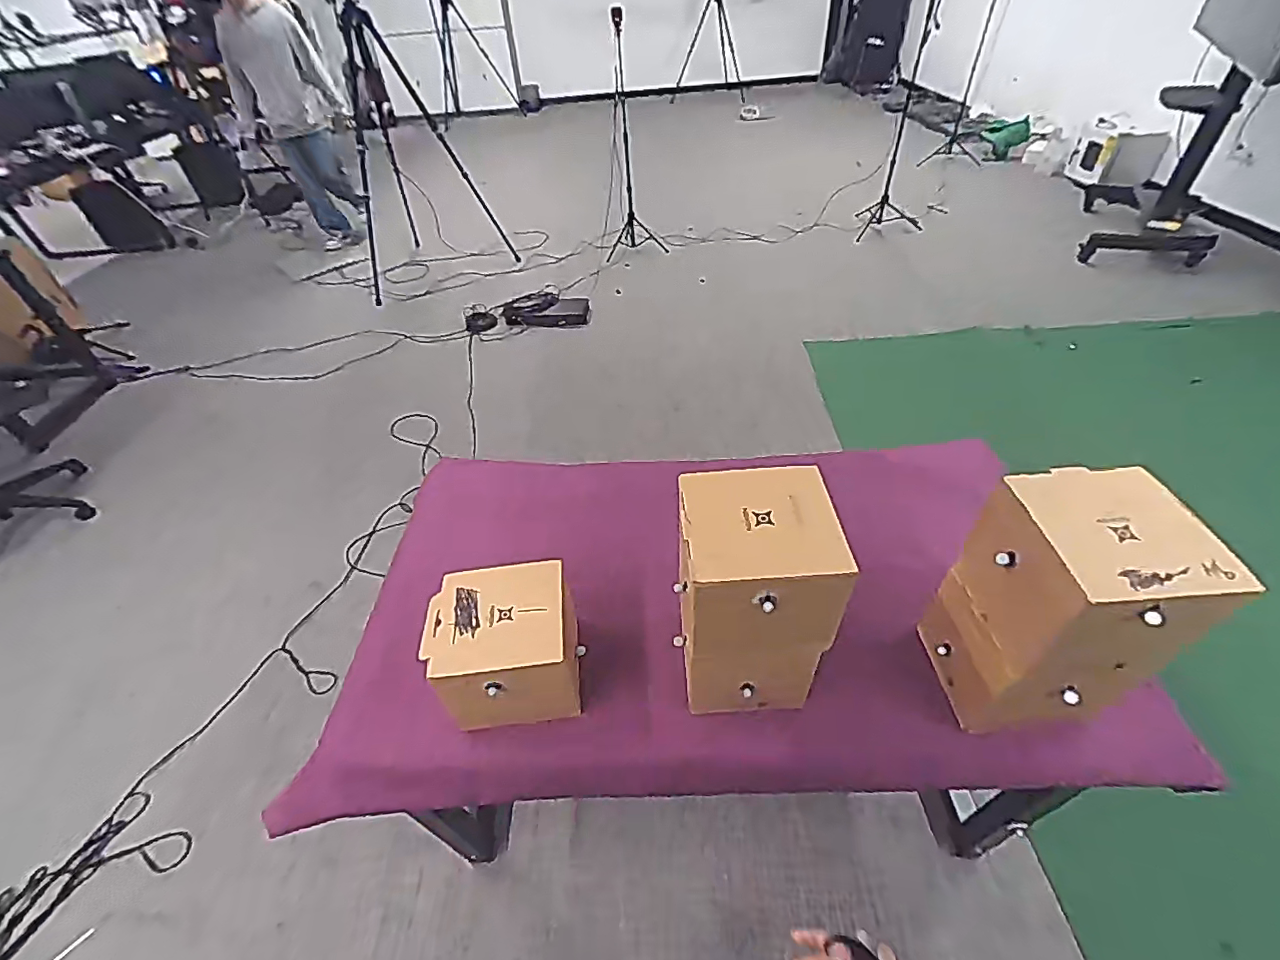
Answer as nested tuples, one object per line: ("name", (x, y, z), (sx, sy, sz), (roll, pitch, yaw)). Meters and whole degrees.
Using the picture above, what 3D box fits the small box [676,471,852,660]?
("small box", (0.141, 0.109, 0.674), (0.179, 0.176, 0.168), (-4, 44, 2))

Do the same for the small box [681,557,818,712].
("small box", (0.150, 0.224, 0.790), (0.168, 0.176, 0.179), (-4, 43, 2))

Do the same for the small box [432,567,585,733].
("small box", (-0.182, 0.255, 0.801), (0.179, 0.176, 0.168), (-7, 44, -2))

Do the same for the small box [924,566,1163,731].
("small box", (0.527, 0.226, 0.741), (0.179, 0.176, 0.168), (-6, 44, 3))

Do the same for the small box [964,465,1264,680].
("small box", (0.514, 0.107, 0.629), (0.168, 0.176, 0.179), (-6, 43, 3))
